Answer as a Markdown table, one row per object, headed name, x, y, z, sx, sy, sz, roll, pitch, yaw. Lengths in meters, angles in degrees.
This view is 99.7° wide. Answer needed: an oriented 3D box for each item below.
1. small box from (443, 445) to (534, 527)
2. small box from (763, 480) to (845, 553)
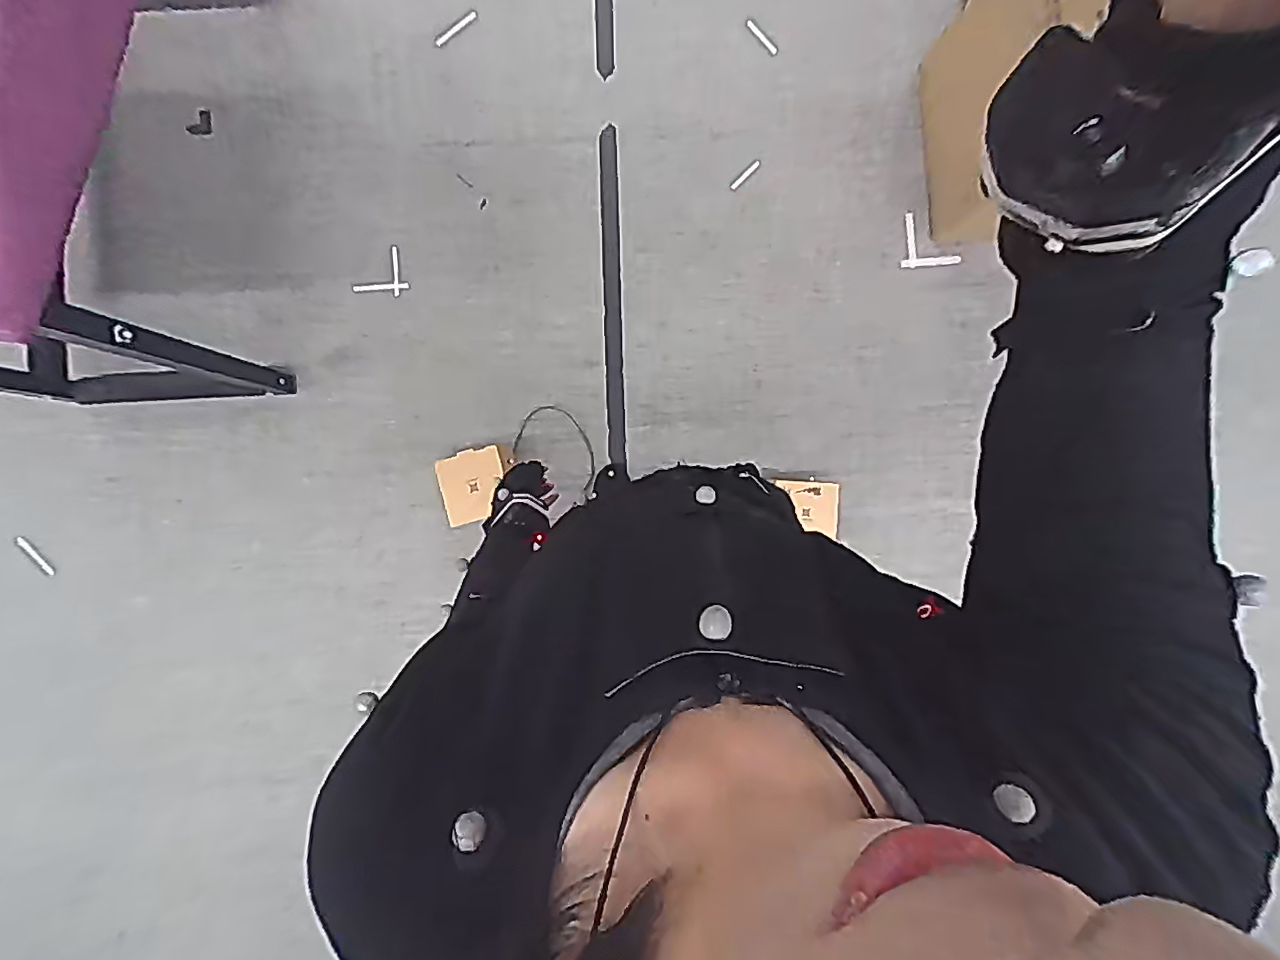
| name | x | y | z | sx | sy | sz | roll | pitch | yaw |
| --- | --- | --- | --- | --- | --- | --- | --- | --- | --- |
| small box | -0.395 | 0.016 | 1.435 | 0.168 | 0.176 | 0.179 | -15 | 90 | 2 |
| small box | 0.432 | 0.093 | 1.447 | 0.168 | 0.176 | 0.179 | 3 | 90 | -1 |
